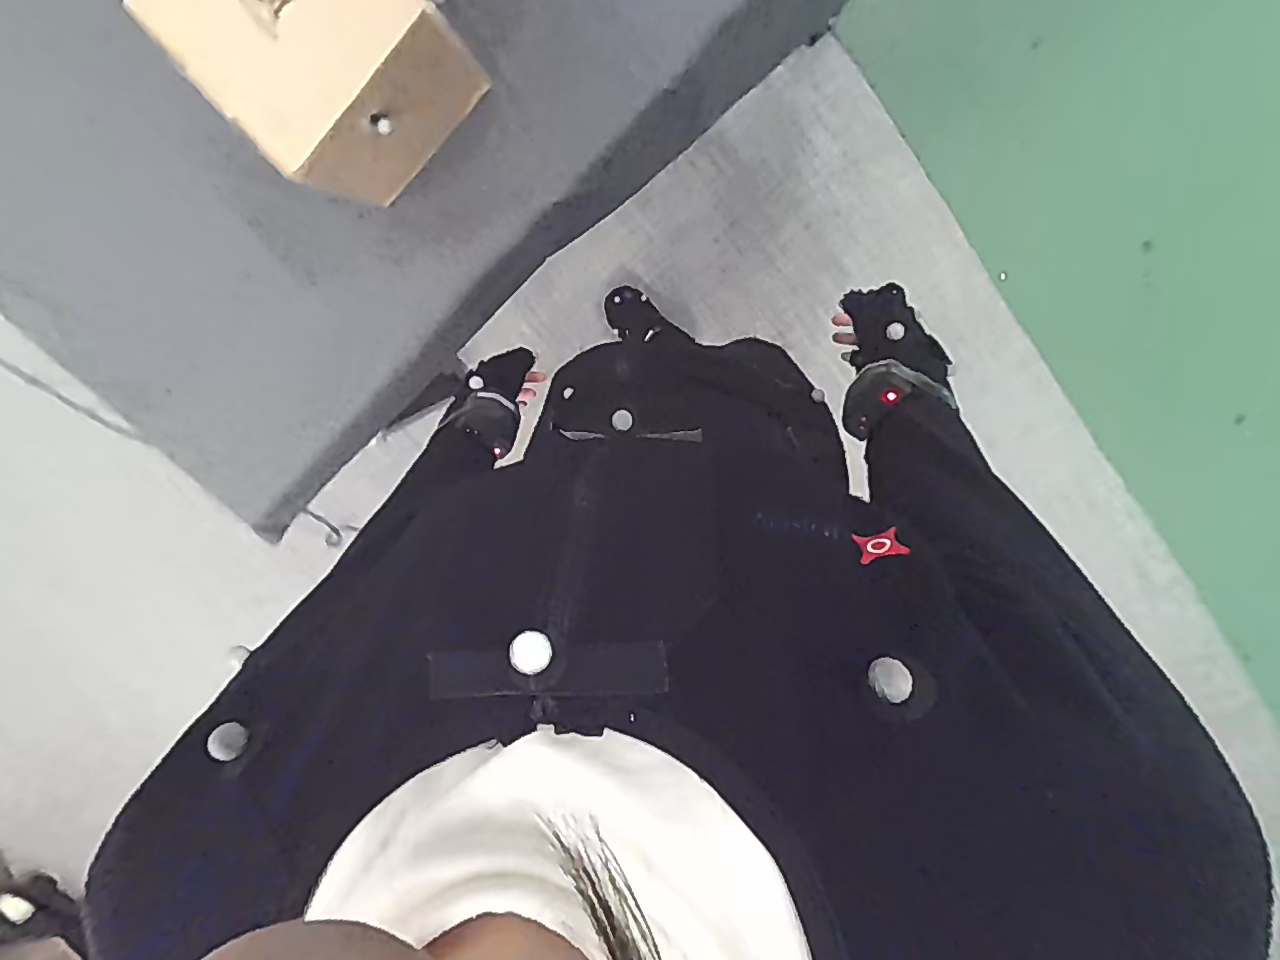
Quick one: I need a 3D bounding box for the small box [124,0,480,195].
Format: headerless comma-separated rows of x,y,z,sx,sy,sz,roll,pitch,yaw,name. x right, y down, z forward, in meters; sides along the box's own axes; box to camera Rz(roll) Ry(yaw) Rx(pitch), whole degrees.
-0.275,-0.388,0.483,0.179,0.176,0.168,-39,104,15,small box
